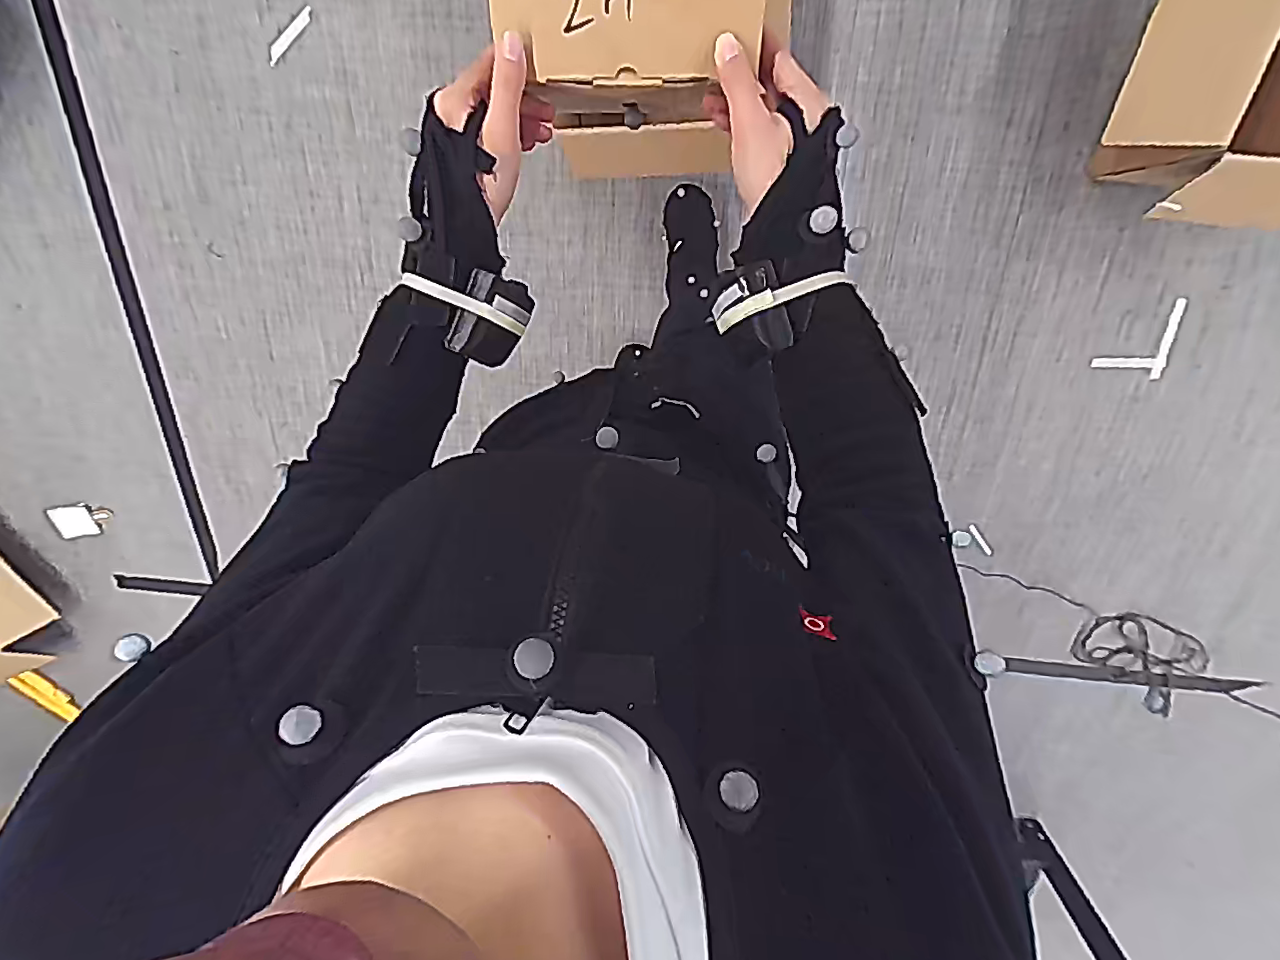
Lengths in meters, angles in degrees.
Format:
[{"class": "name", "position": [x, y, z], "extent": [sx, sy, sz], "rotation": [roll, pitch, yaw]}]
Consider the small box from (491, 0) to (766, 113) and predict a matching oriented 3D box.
[{"class": "small box", "position": [-0.004, -0.366, 0.367], "extent": [0.168, 0.176, 0.179], "rotation": [1, 119, 2]}]
